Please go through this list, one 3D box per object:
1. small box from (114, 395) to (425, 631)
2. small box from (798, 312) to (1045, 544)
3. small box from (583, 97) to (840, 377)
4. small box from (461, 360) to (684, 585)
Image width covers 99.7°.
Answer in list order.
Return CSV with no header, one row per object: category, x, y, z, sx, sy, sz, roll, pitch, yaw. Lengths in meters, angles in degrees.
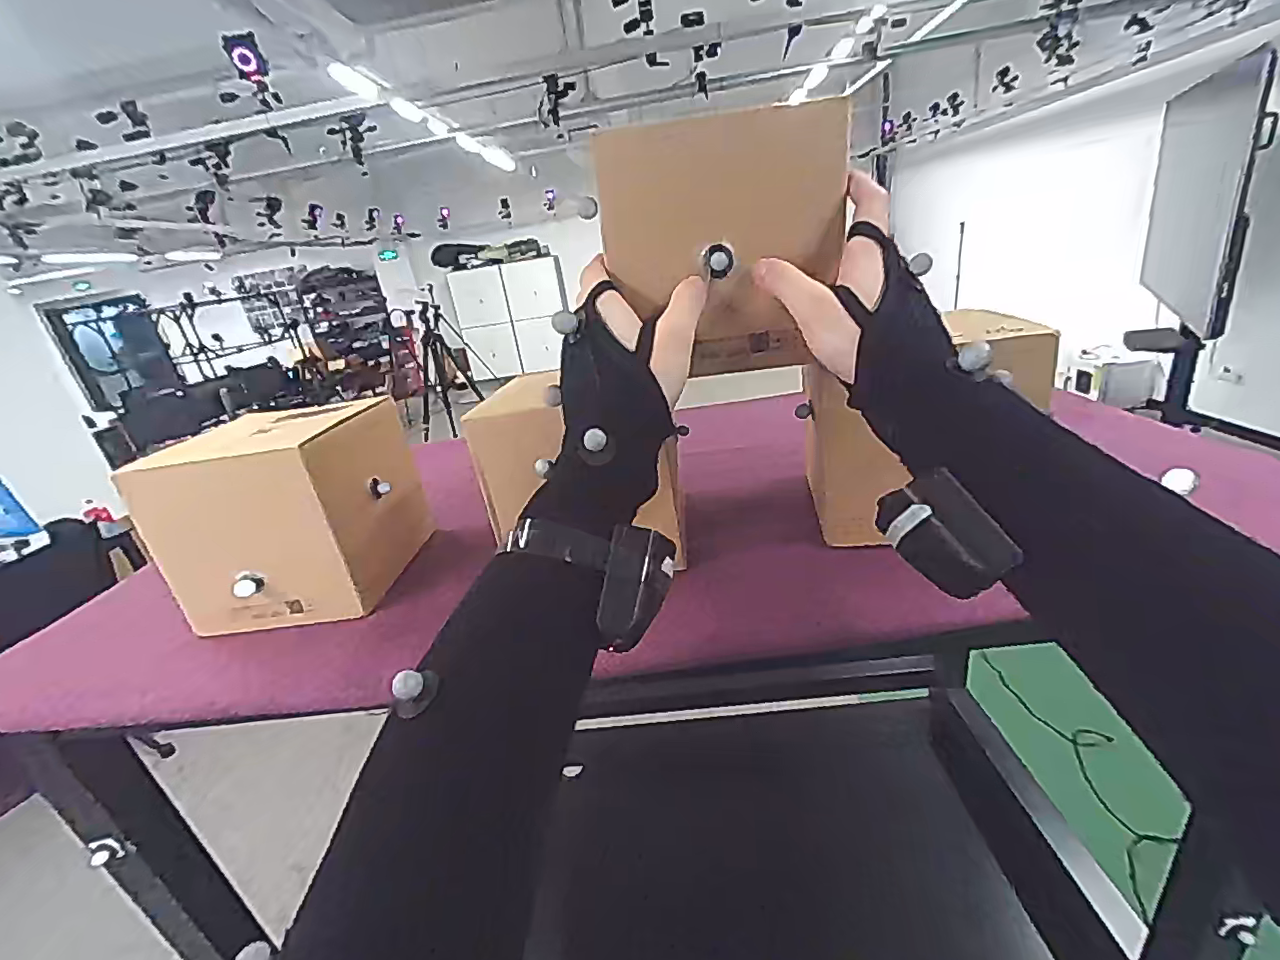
small box,-0.338,0.025,0.541,0.168,0.176,0.179,-7,23,4
small box,0.240,-0.054,0.507,0.168,0.176,0.179,-6,20,14
small box,0.054,-0.186,0.444,0.168,0.176,0.179,-6,25,2
small box,-0.049,-0.017,0.537,0.168,0.176,0.179,-7,23,7
